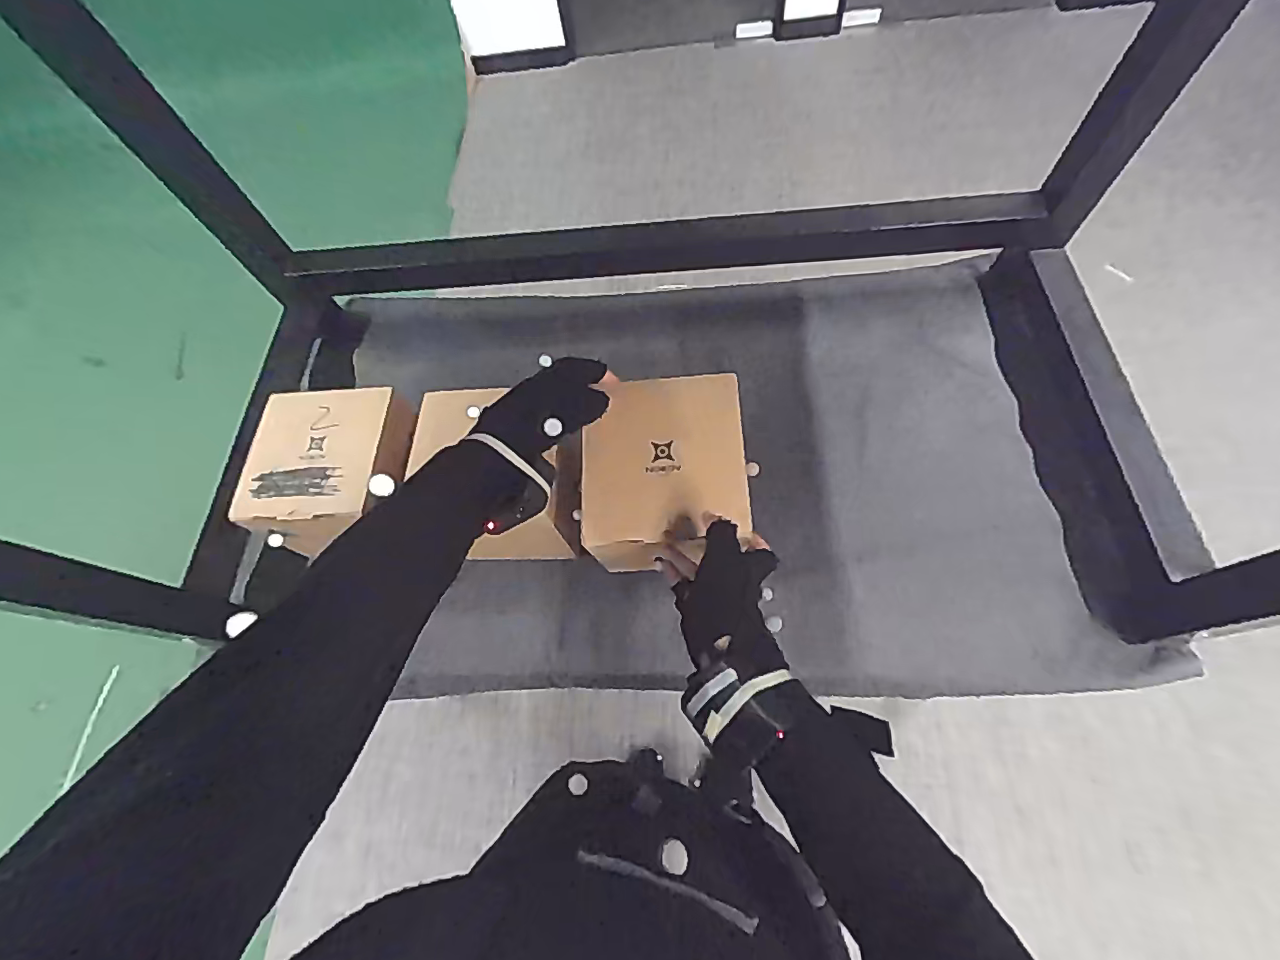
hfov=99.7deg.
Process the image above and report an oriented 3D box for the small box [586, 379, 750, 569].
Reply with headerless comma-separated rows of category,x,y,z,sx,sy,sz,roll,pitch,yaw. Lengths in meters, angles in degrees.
small box,0.031,0.002,0.635,0.168,0.176,0.179,-4,73,5
